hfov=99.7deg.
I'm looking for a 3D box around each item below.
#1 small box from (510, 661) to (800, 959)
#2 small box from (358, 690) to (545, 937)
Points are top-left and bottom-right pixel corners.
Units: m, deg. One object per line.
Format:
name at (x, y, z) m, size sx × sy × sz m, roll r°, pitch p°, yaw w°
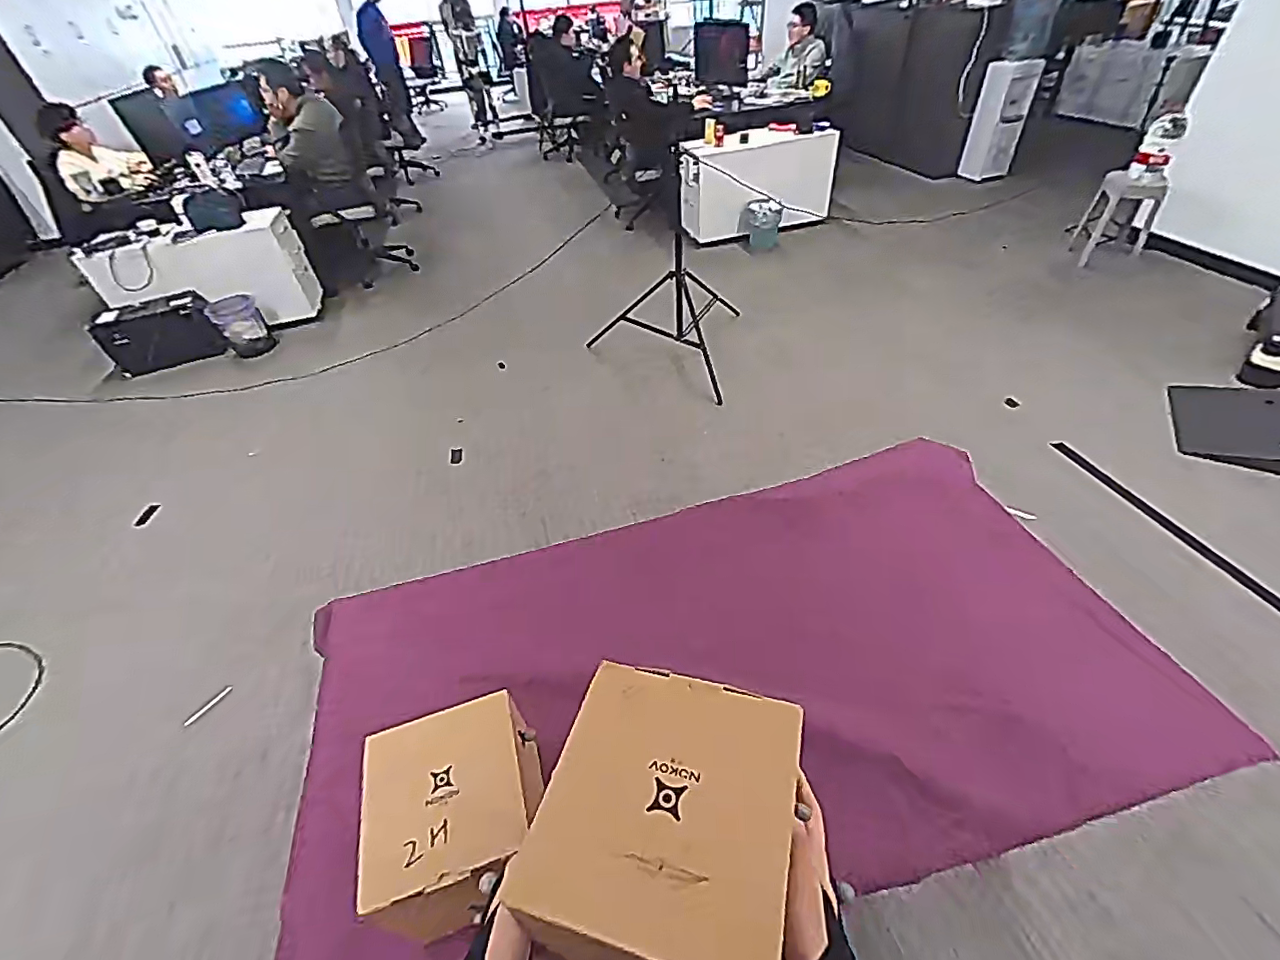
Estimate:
small box at (0.026, 0.277, 0.420) m, size 0.168 × 0.176 × 0.179 m, roll 6°, pitch 39°, yaw 17°
small box at (-0.206, 0.387, 0.632) m, size 0.168 × 0.176 × 0.179 m, roll -16°, pitch 44°, yaw -10°
